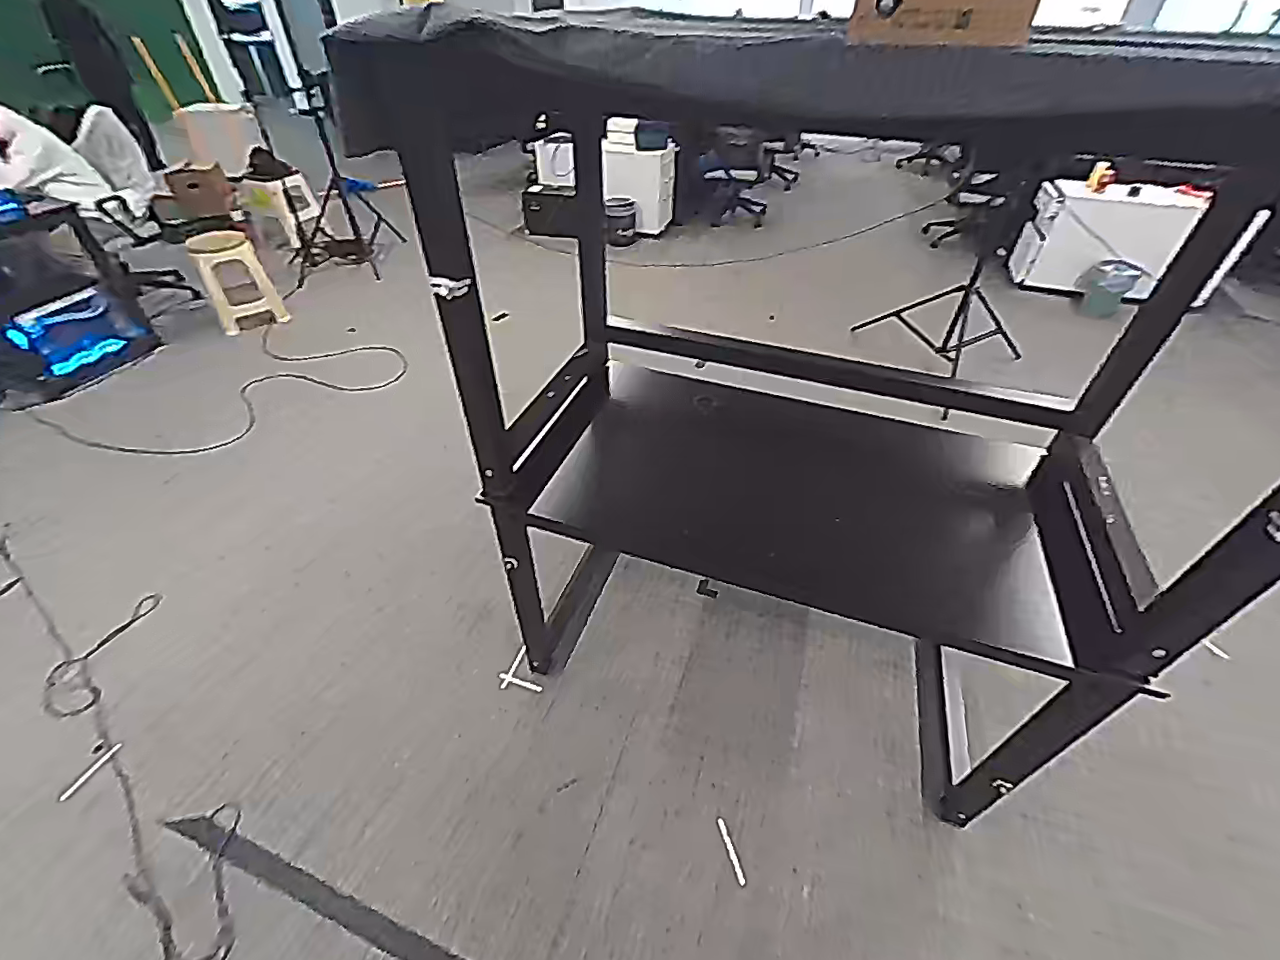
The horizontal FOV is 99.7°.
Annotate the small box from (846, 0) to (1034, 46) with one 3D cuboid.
[{"bbox_3d":[0.312,-0.543,0.538,0.168,0.176,0.179,14,42,13],"label":"small box"}]
